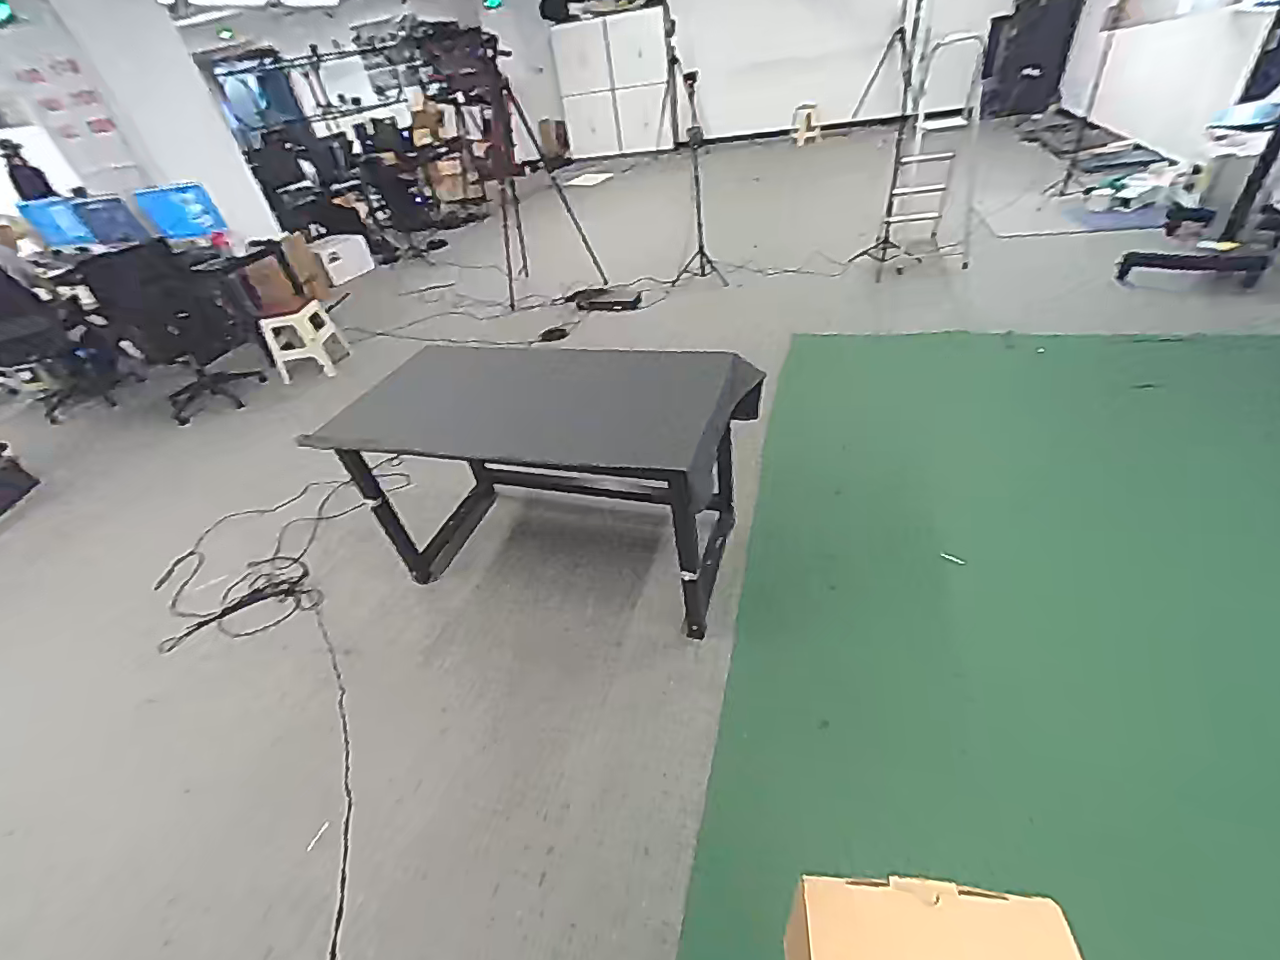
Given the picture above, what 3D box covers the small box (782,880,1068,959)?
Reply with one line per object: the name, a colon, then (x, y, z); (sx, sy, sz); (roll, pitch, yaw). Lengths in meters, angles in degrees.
small box: (0.188, 0.398, 0.352); (0.168, 0.176, 0.179); (-1, 37, 8)
